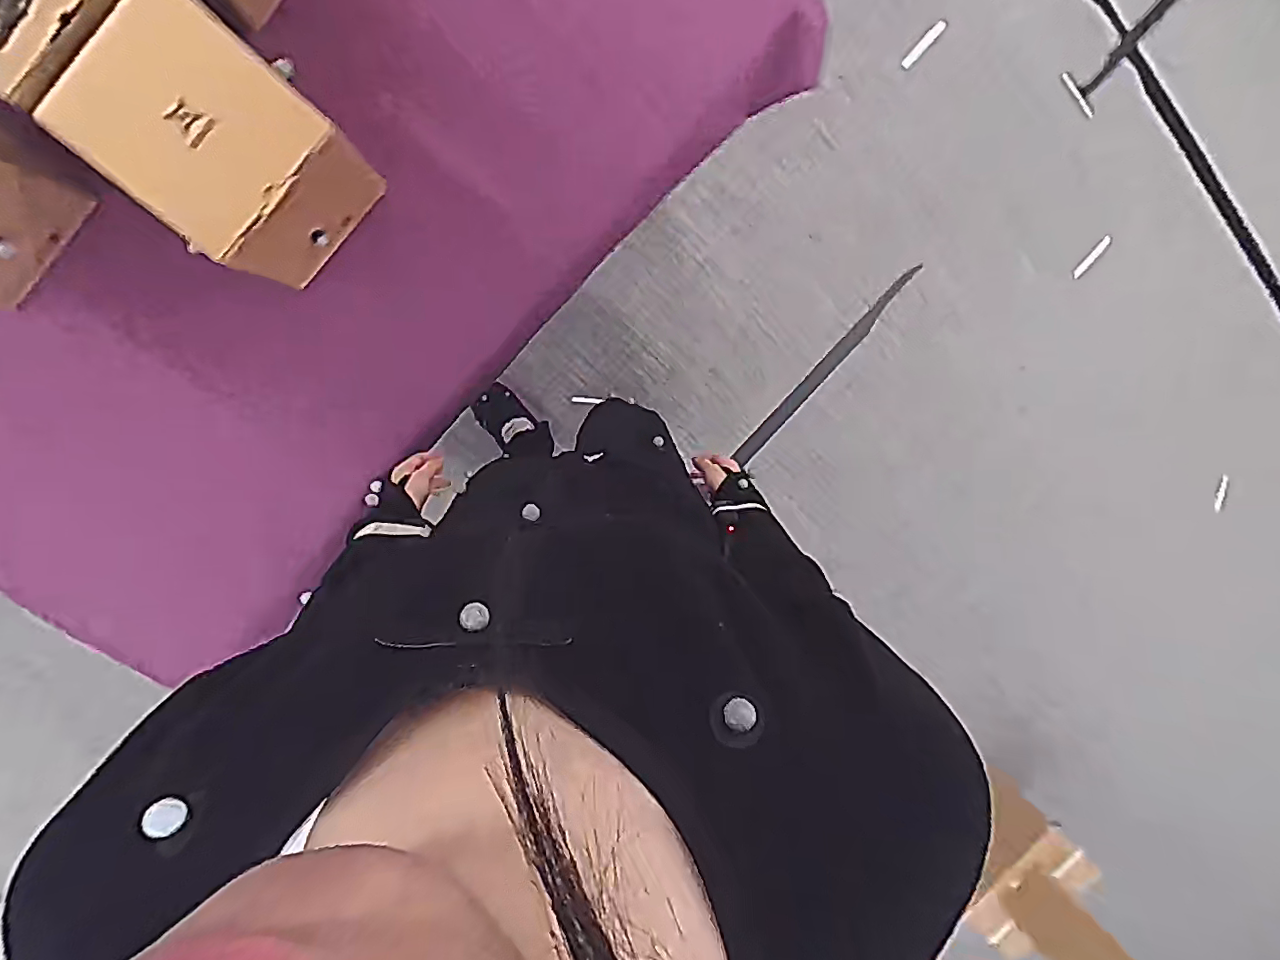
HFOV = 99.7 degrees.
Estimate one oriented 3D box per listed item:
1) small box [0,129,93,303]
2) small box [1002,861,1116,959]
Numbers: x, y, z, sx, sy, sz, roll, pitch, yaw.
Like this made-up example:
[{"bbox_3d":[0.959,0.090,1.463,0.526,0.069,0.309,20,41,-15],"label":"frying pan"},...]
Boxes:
[{"bbox_3d":[-0.705,-0.284,0.513,0.179,0.176,0.168,40,93,-17],"label":"small box"},{"bbox_3d":[1.234,1.290,1.604,0.168,0.176,0.179,40,93,-13],"label":"small box"}]
